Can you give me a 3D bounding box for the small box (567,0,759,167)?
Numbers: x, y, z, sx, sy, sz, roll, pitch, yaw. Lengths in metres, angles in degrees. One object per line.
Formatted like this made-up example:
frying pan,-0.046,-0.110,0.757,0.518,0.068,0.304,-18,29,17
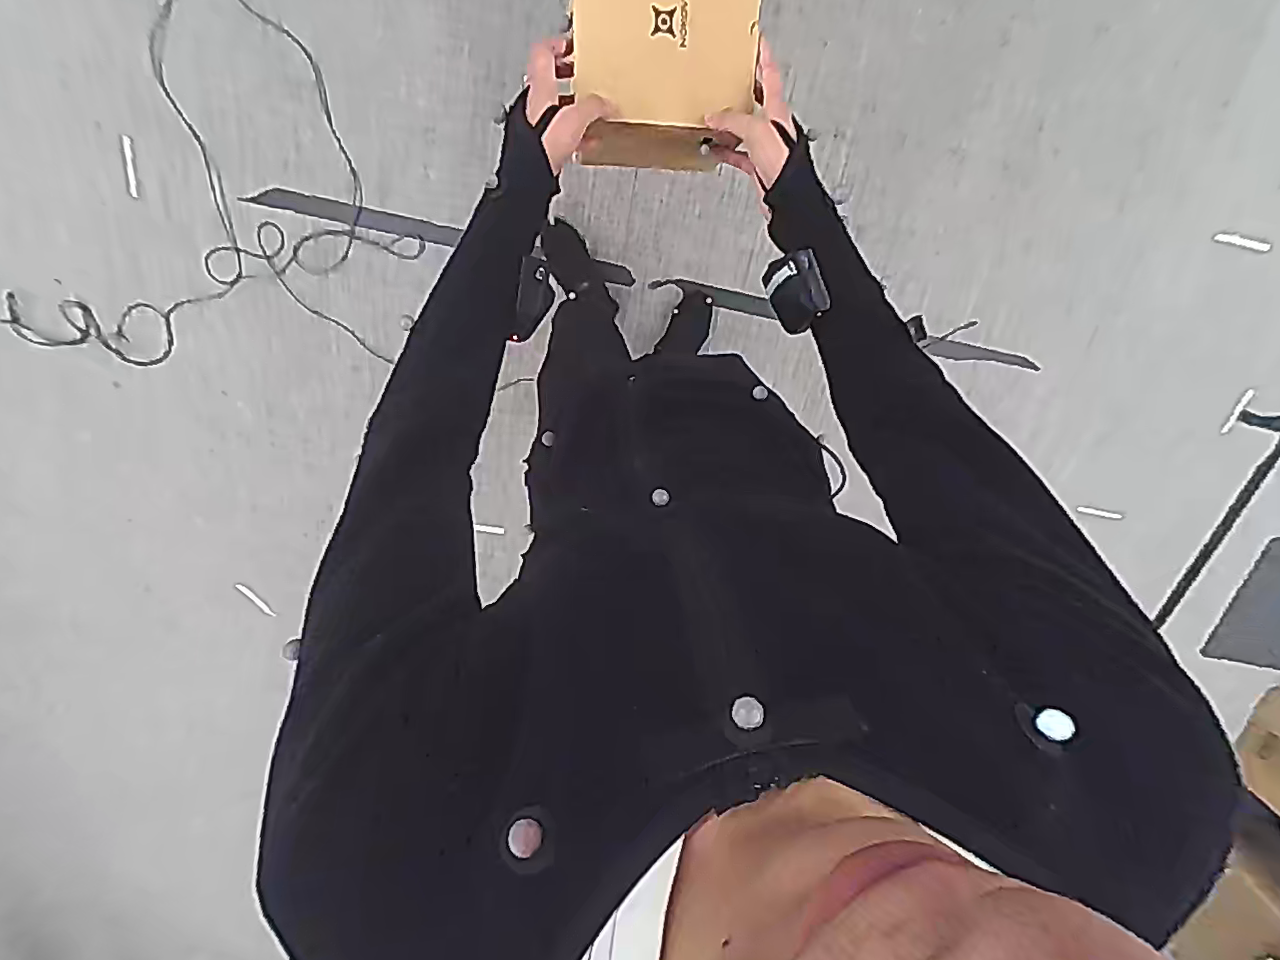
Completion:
small box,0.012,-0.441,0.565,0.179,0.176,0.168,-1,108,-9
